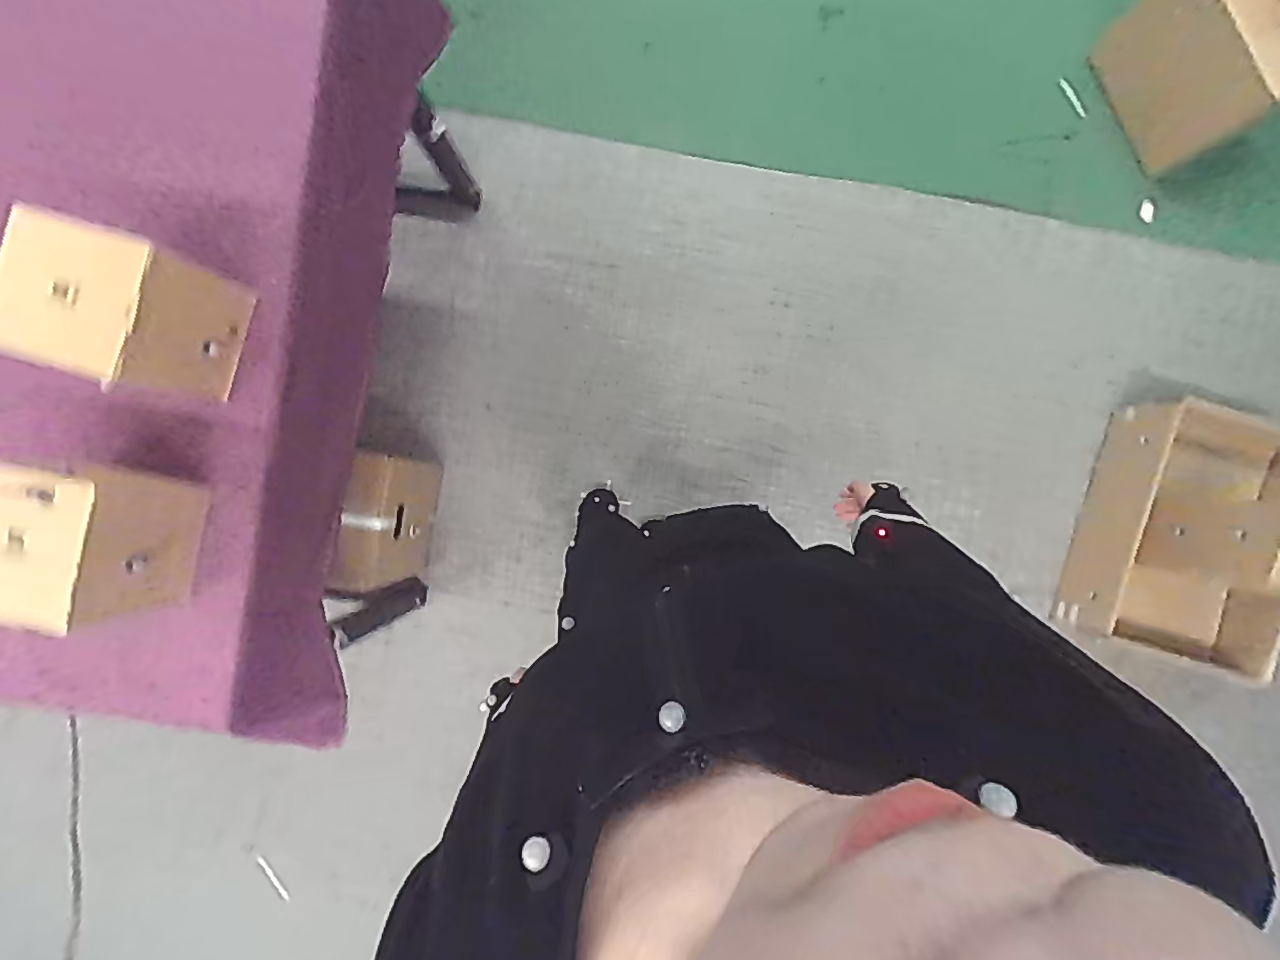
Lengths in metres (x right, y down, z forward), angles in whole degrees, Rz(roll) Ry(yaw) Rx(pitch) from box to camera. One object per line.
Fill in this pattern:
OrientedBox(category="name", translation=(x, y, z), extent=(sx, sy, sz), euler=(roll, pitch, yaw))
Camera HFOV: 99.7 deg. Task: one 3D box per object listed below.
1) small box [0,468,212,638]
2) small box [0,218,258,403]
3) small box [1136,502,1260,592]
OrientedBox(category="small box", translation=(-0.713, 0.084, 0.709), extent=(0.168, 0.176, 0.179), euler=(11, 90, 1))
OrientedBox(category="small box", translation=(-0.663, -0.209, 0.715), extent=(0.179, 0.176, 0.168), euler=(16, 90, 1))
OrientedBox(category="small box", translation=(1.396, 0.157, 1.341), extent=(0.168, 0.176, 0.179), euler=(16, 89, 2))
